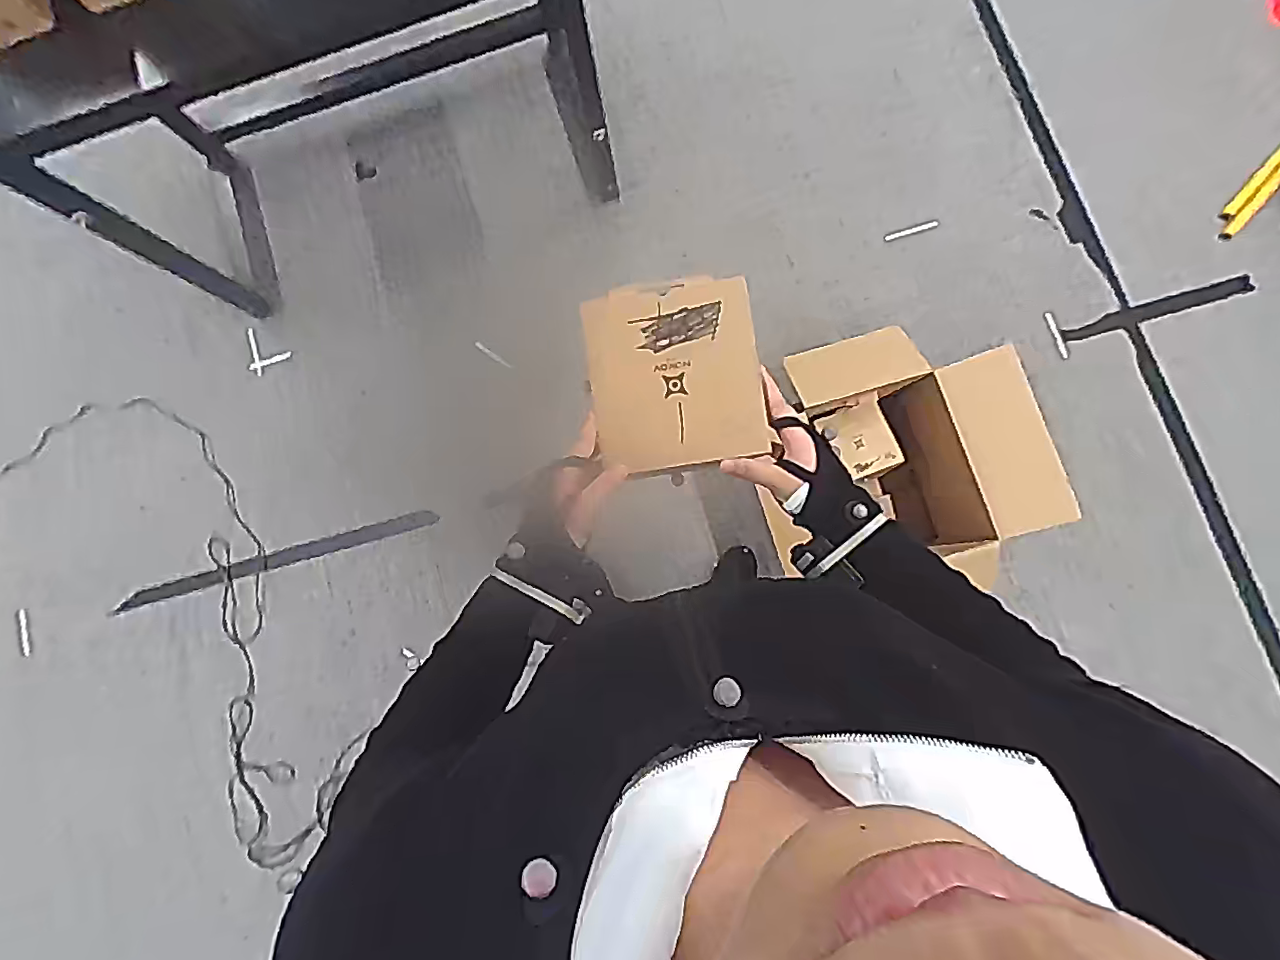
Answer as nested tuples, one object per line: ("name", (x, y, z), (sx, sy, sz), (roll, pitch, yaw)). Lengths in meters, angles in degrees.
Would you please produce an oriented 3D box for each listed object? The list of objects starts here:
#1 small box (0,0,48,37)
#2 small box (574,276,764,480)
("small box", (-1.152, -0.879, 0.897), (0.168, 0.176, 0.179), (-18, 82, 1))
("small box", (0.028, -0.099, 0.601), (0.168, 0.176, 0.179), (-9, 89, 1))
